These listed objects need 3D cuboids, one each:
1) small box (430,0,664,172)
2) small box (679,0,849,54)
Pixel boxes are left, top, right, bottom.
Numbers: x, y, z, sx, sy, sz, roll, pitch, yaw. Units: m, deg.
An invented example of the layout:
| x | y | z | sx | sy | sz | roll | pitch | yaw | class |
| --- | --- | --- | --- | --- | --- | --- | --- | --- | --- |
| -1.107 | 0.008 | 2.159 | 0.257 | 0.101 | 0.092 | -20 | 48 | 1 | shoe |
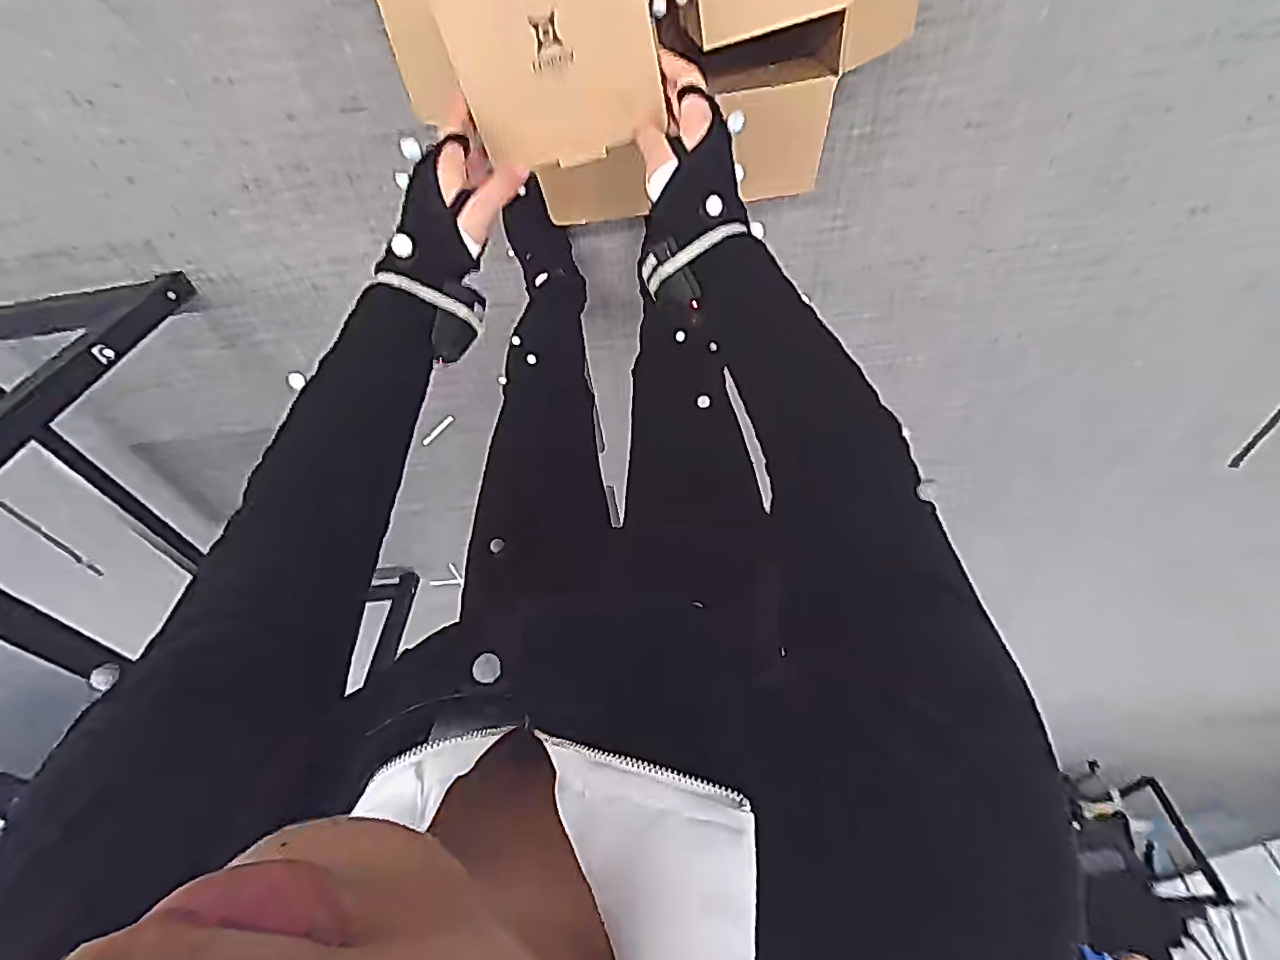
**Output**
| x | y | z | sx | sy | sz | roll | pitch | yaw | class |
| --- | --- | --- | --- | --- | --- | --- | --- | --- | --- |
| -0.072 | -0.414 | 0.487 | 0.168 | 0.176 | 0.179 | -9 | 133 | 10 | small box |
| 0.121 | -0.599 | 0.579 | 0.168 | 0.176 | 0.179 | -12 | 136 | 6 | small box |
